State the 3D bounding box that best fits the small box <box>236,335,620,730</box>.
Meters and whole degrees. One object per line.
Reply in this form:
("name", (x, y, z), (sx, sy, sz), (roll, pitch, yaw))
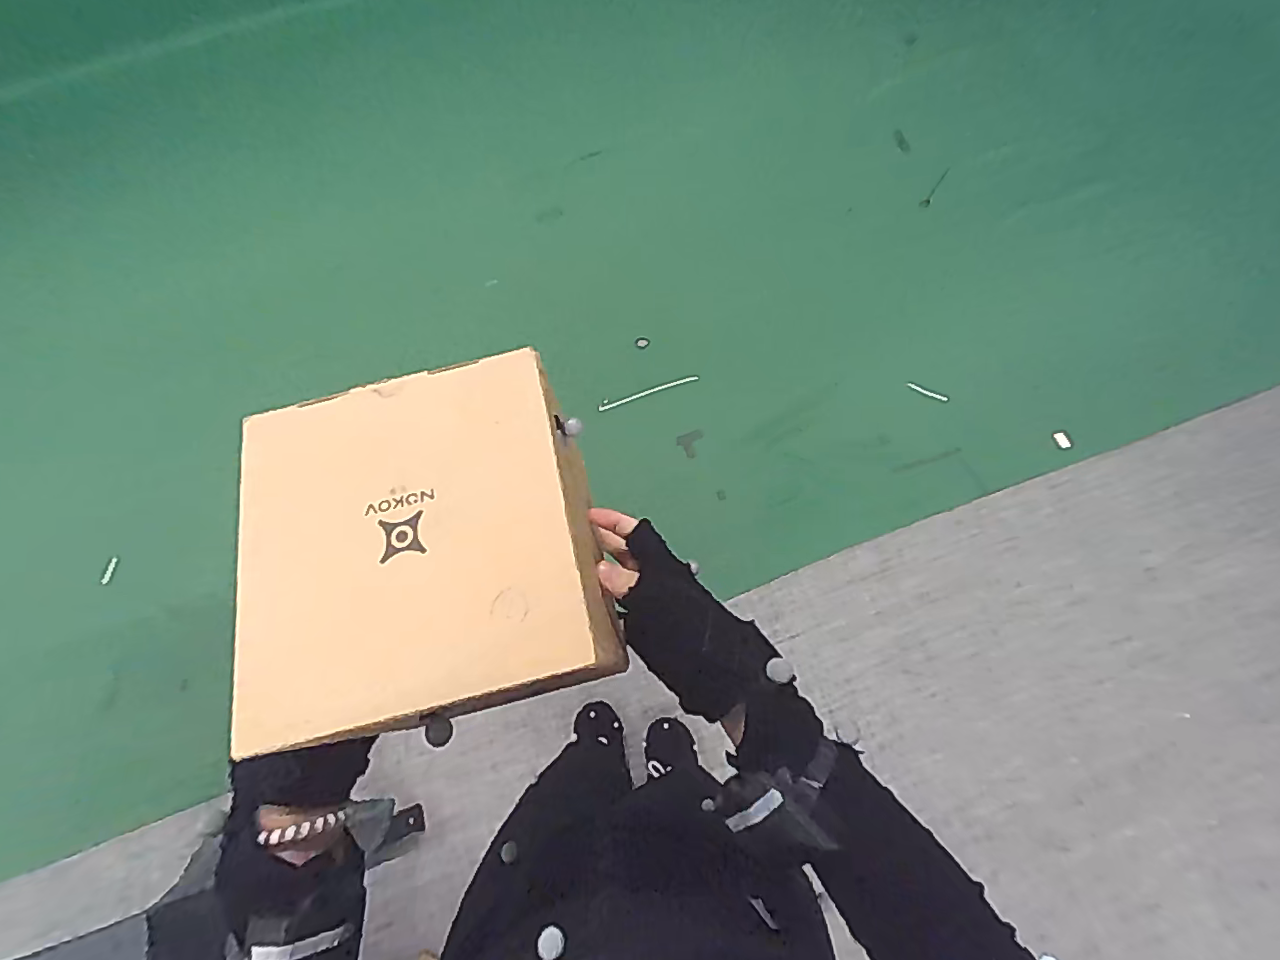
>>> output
("small box", (-0.115, 0.043, 0.348), (0.168, 0.176, 0.179), (-15, 68, -2))
